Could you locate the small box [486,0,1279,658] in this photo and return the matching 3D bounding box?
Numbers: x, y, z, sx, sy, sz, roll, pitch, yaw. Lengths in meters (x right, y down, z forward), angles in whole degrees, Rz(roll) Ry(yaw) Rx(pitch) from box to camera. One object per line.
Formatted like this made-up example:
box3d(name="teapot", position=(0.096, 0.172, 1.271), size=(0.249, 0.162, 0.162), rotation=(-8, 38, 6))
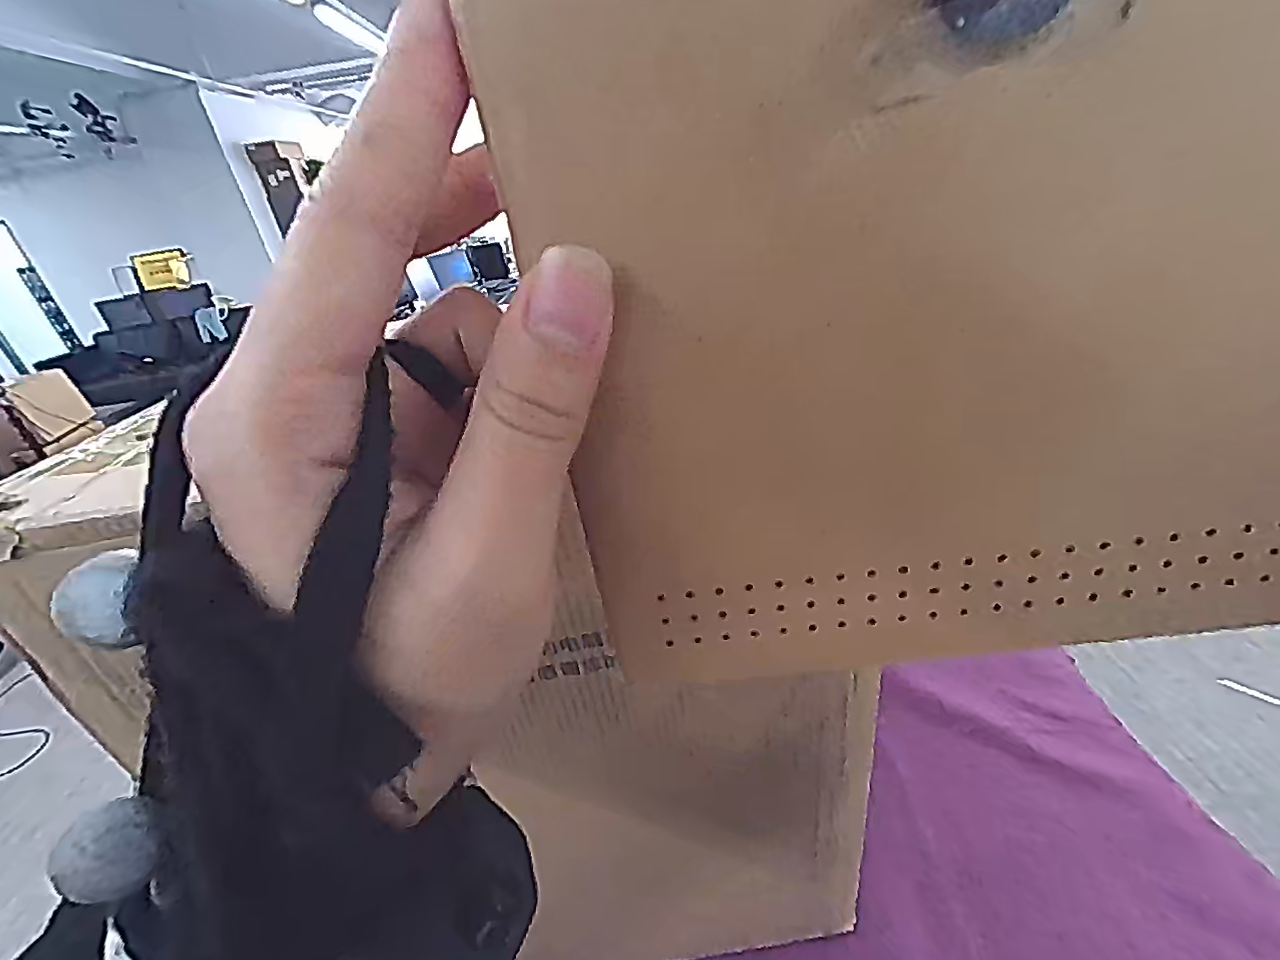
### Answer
box3d(name="small box", position=(0.073, -0.068, 0.160), size=(0.179, 0.176, 0.168), rotation=(-8, 25, 7))
